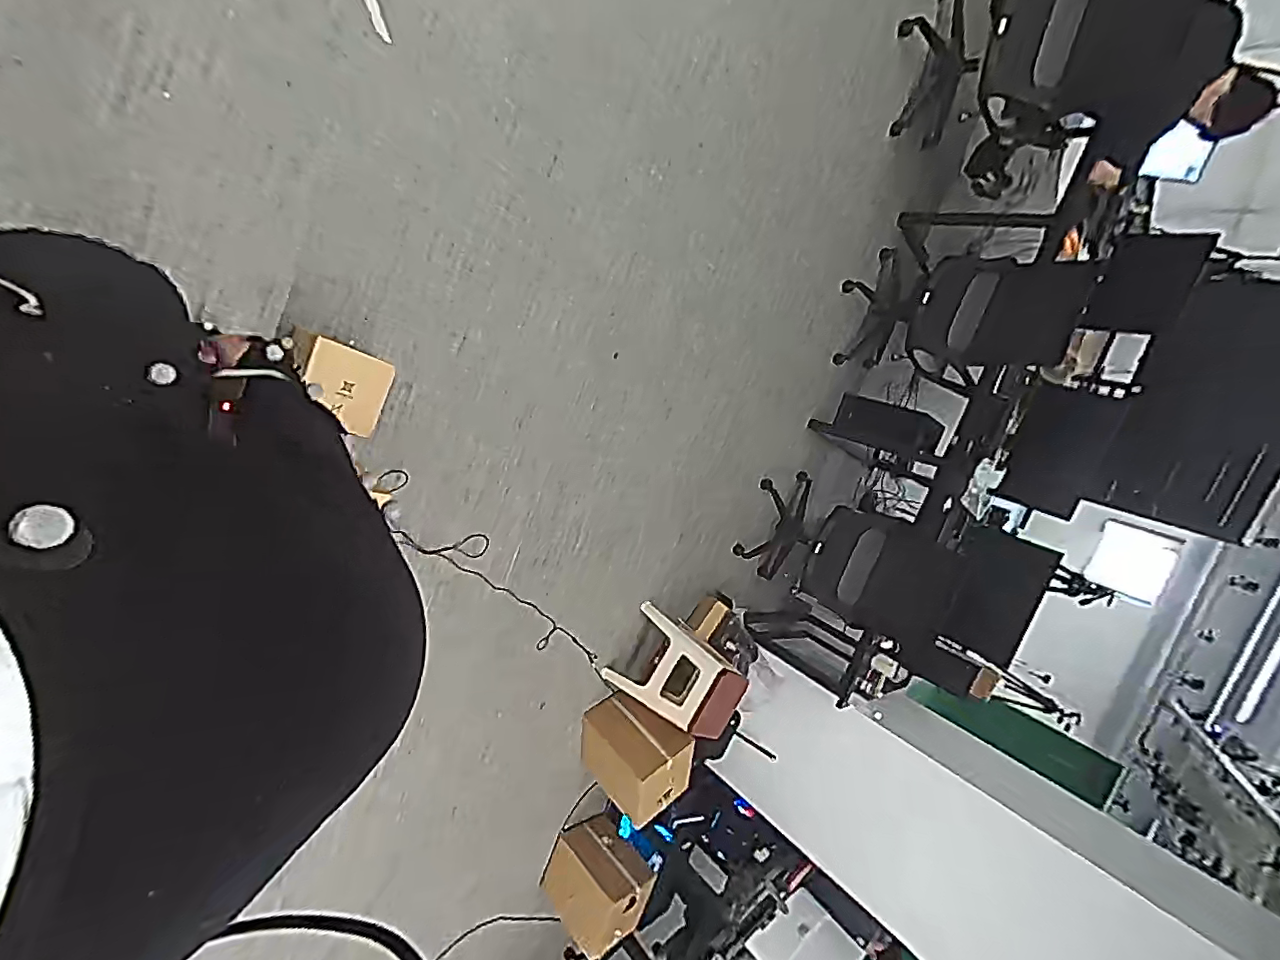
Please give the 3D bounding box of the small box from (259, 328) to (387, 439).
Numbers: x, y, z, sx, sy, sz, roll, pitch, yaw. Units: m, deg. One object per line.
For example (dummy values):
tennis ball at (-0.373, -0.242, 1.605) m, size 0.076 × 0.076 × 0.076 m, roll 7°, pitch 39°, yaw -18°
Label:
small box at (-0.689, -0.211, 1.168) m, size 0.168 × 0.176 × 0.179 m, roll 23°, pitch 90°, yaw -50°
